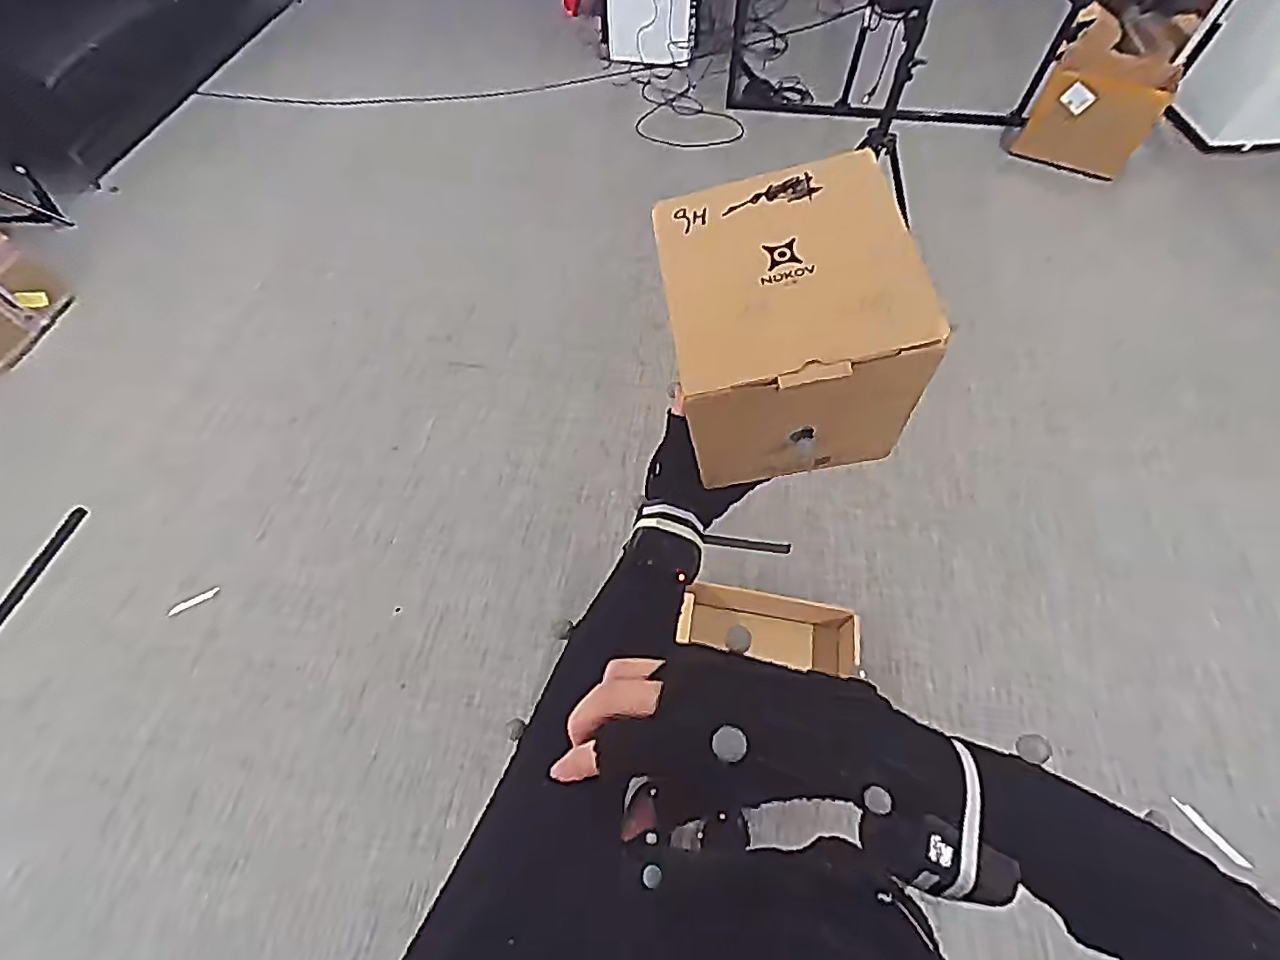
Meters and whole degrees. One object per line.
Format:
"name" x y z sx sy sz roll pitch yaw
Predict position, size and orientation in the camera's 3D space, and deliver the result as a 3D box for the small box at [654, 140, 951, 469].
"small box" 0.115 -0.120 0.436 0.168 0.176 0.179 -11 67 8
